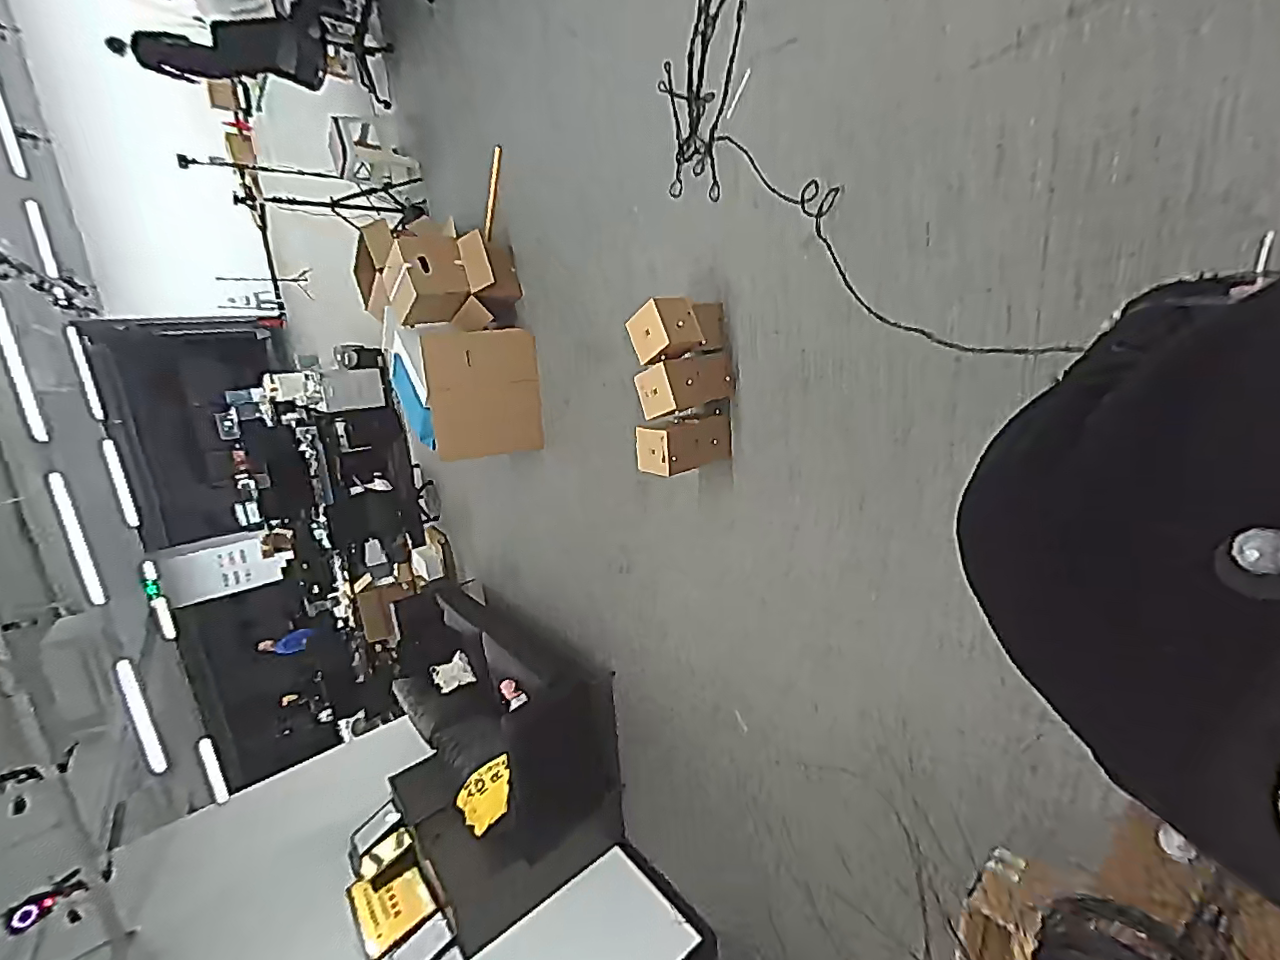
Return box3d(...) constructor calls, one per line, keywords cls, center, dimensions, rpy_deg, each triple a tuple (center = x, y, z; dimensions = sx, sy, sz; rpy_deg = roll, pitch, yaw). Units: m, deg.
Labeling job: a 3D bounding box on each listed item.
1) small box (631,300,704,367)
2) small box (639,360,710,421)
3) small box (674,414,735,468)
box3d(cls="small box", center=(0.101, -0.509, 1.872), dimensions=(0.179, 0.176, 0.168), rpy_deg=(-29, 79, 54))
box3d(cls="small box", center=(0.130, -0.318, 1.912), dimensions=(0.179, 0.176, 0.168), rpy_deg=(-14, 90, 54))
box3d(cls="small box", center=(0.251, -0.158, 2.086), dimensions=(0.168, 0.176, 0.179), rpy_deg=(13, 113, 51))
